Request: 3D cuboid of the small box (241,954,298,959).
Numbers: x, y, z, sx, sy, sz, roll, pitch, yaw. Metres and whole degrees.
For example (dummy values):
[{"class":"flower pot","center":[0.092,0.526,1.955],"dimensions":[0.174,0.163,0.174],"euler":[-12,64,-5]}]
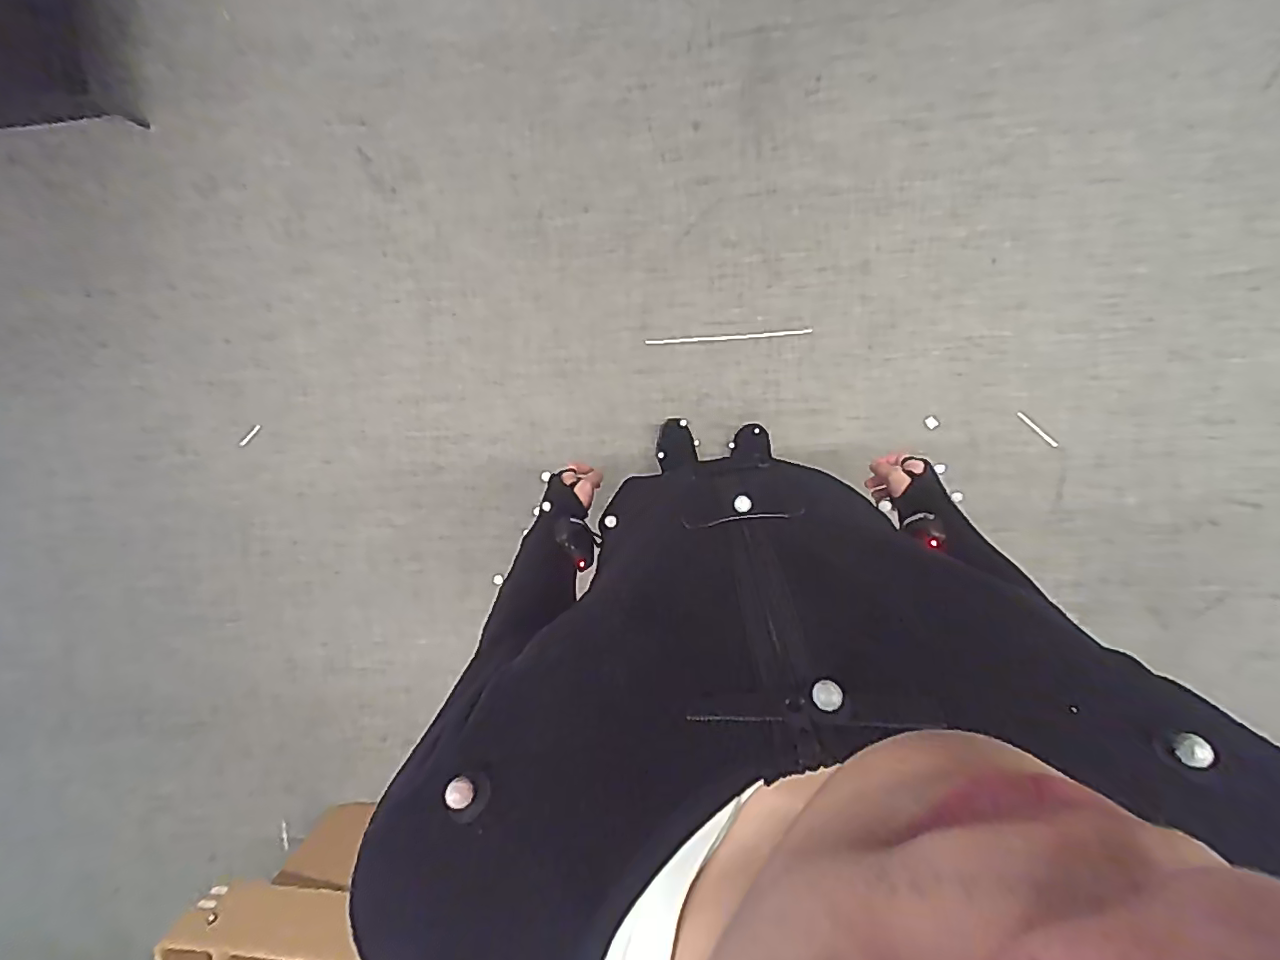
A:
[{"class":"small box","center":[-0.996,1.358,1.373],"dimensions":[0.179,0.176,0.168],"euler":[0,96,4]}]
